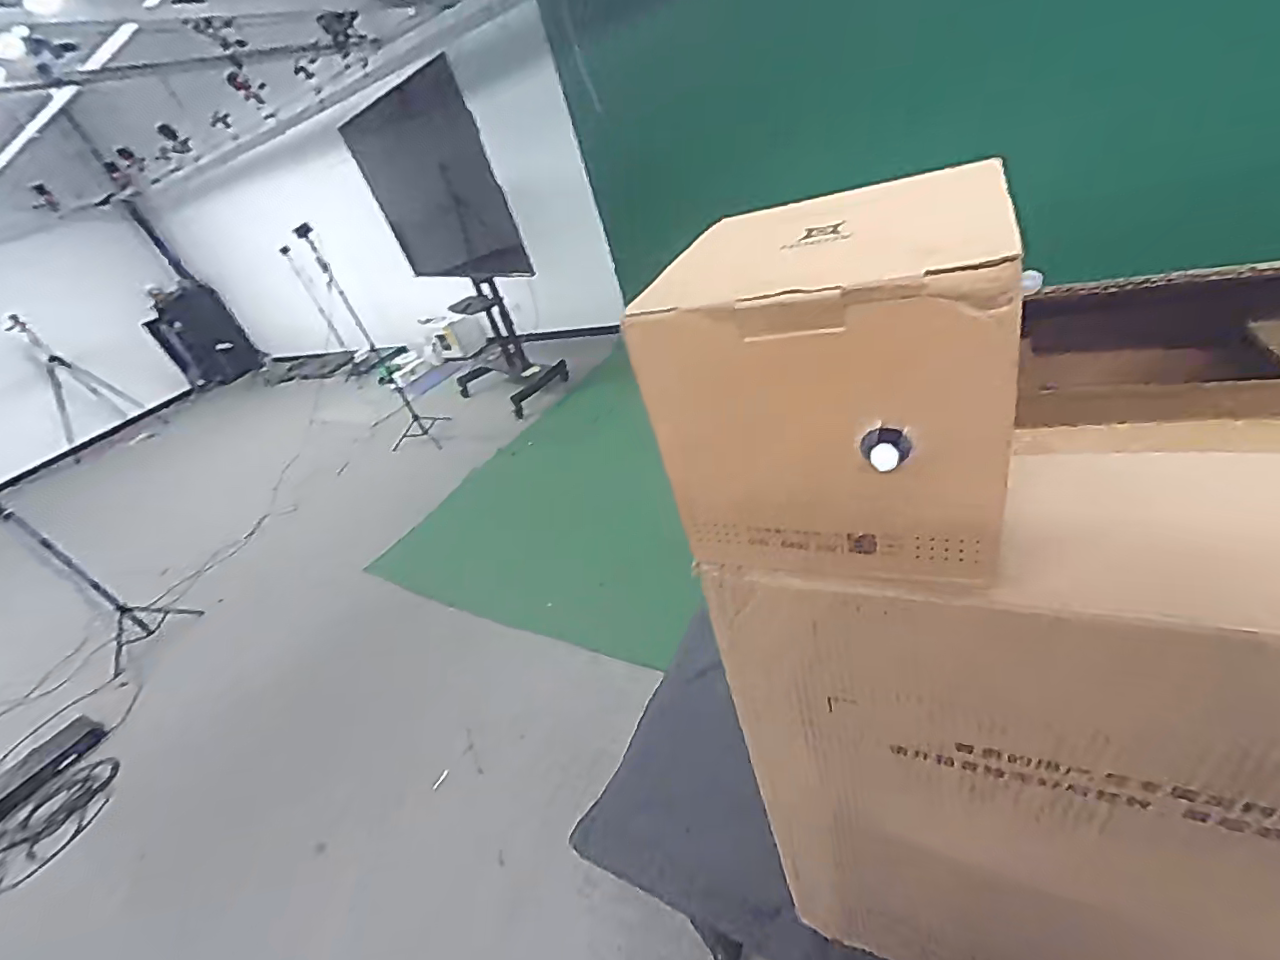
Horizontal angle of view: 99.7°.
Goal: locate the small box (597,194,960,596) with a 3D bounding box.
[{"bbox_3d":[0.104,-0.051,0.338,0.168,0.176,0.179,2,37,30],"label":"small box"}]
